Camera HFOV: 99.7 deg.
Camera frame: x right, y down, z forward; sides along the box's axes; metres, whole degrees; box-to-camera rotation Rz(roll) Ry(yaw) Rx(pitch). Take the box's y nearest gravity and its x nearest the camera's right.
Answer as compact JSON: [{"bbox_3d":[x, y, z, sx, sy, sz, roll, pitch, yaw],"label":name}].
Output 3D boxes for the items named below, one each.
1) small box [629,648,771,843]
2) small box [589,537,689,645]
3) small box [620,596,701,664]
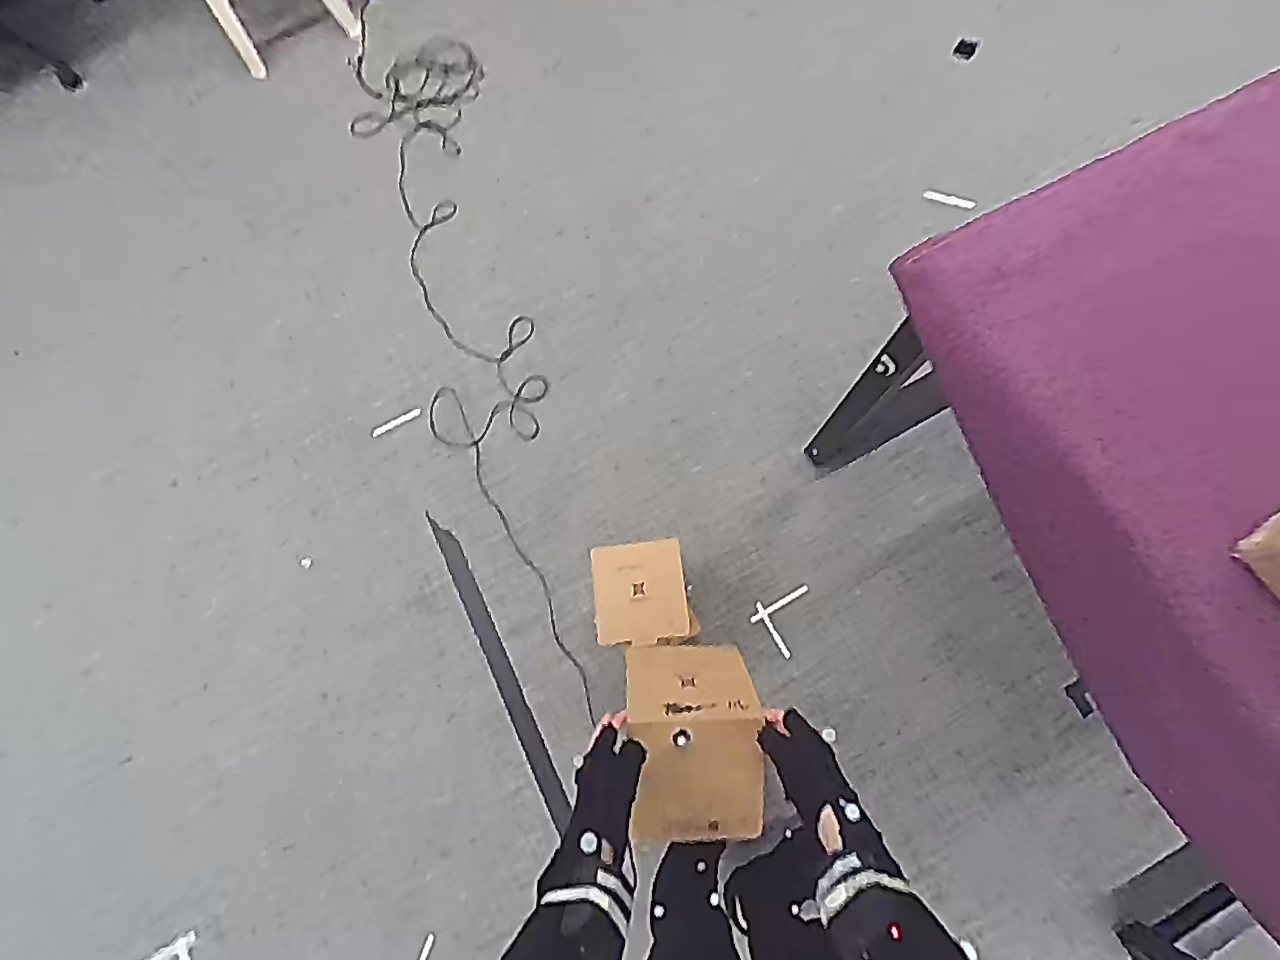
[{"bbox_3d":[0.069,0.339,0.717,0.168,0.179,0.176,-1,99,-2],"label":"small box"},{"bbox_3d":[0.002,0.215,1.039,0.168,0.176,0.179,-7,74,1],"label":"small box"},{"bbox_3d":[0.020,0.285,1.187,0.168,0.176,0.179,-26,75,-3],"label":"small box"}]
